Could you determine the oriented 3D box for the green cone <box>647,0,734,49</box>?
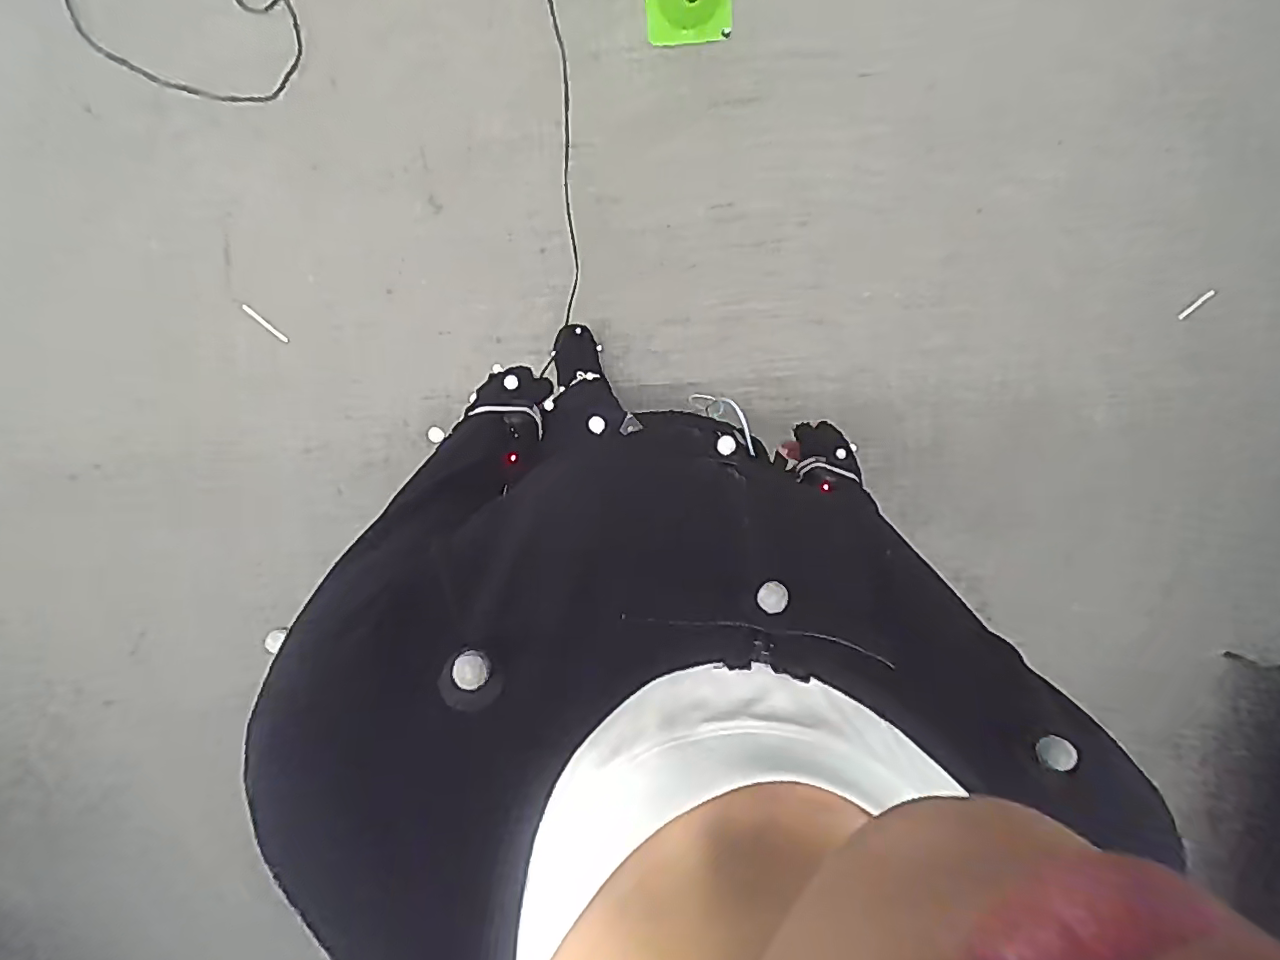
[{"bbox_3d":[0.110,-1.102,1.097,0.202,0.368,0.200,-4,100,3],"label":"green cone"}]
